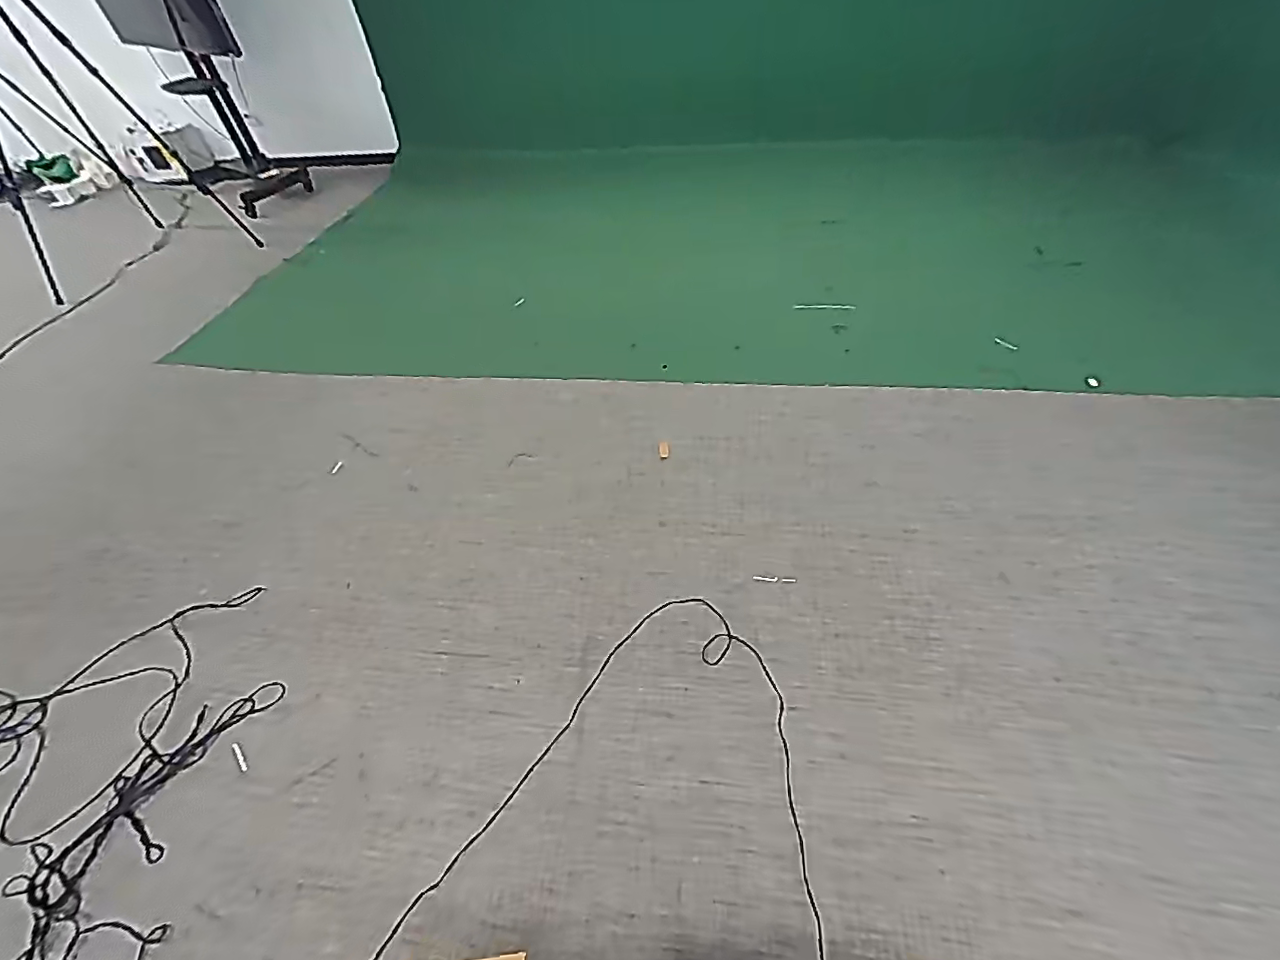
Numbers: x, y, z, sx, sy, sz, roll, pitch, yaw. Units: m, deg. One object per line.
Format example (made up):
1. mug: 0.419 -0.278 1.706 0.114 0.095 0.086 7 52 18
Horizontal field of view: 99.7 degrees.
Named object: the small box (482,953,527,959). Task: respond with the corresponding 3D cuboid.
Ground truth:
1. small box: -0.220 0.699 0.613 0.168 0.179 0.176 -8 82 -1
